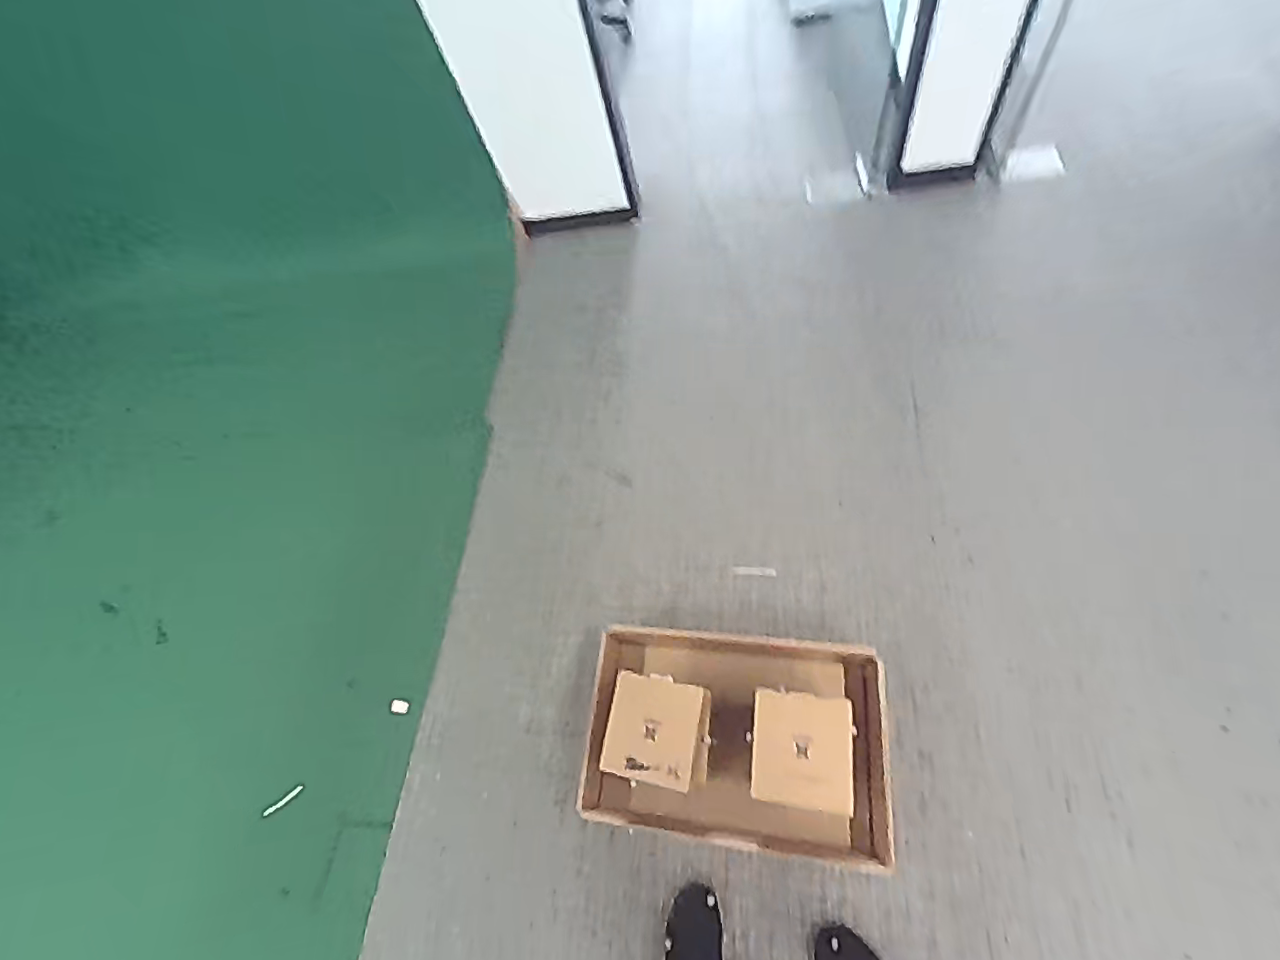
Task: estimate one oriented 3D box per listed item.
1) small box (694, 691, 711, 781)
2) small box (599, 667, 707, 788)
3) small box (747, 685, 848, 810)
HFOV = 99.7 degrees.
[{"bbox_3d":[0.071,0.561,1.211,0.168,0.176,0.179,1,65,11],"label":"small box"},{"bbox_3d":[0.035,0.488,1.067,0.168,0.176,0.179,7,65,16],"label":"small box"},{"bbox_3d":[0.292,0.496,1.012,0.168,0.176,0.179,2,65,15],"label":"small box"}]
